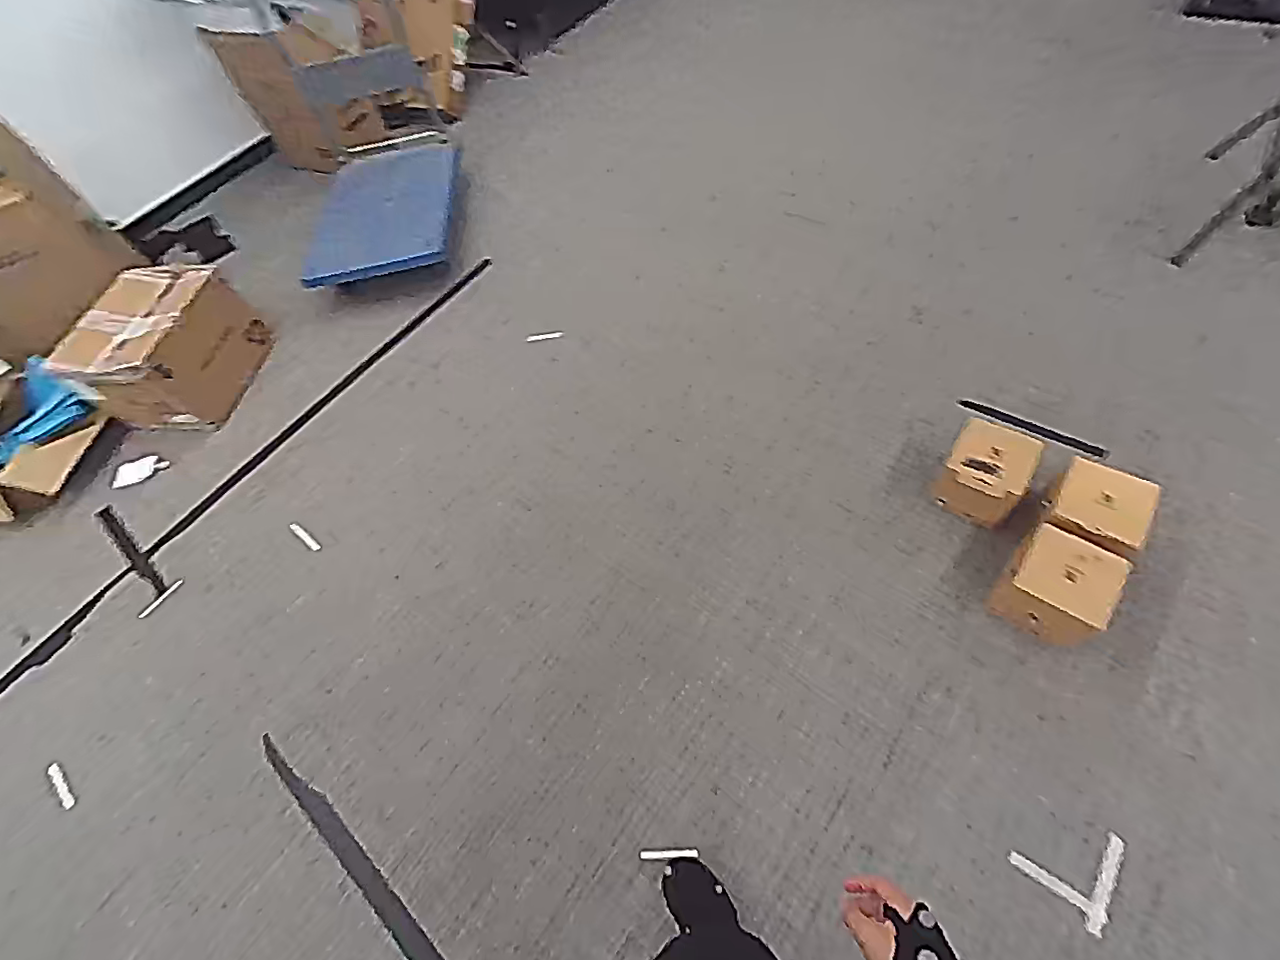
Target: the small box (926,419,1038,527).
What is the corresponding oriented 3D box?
[{"bbox_3d":[0.836,-0.014,1.342,0.168,0.176,0.179,28,67,24],"label":"small box"}]
